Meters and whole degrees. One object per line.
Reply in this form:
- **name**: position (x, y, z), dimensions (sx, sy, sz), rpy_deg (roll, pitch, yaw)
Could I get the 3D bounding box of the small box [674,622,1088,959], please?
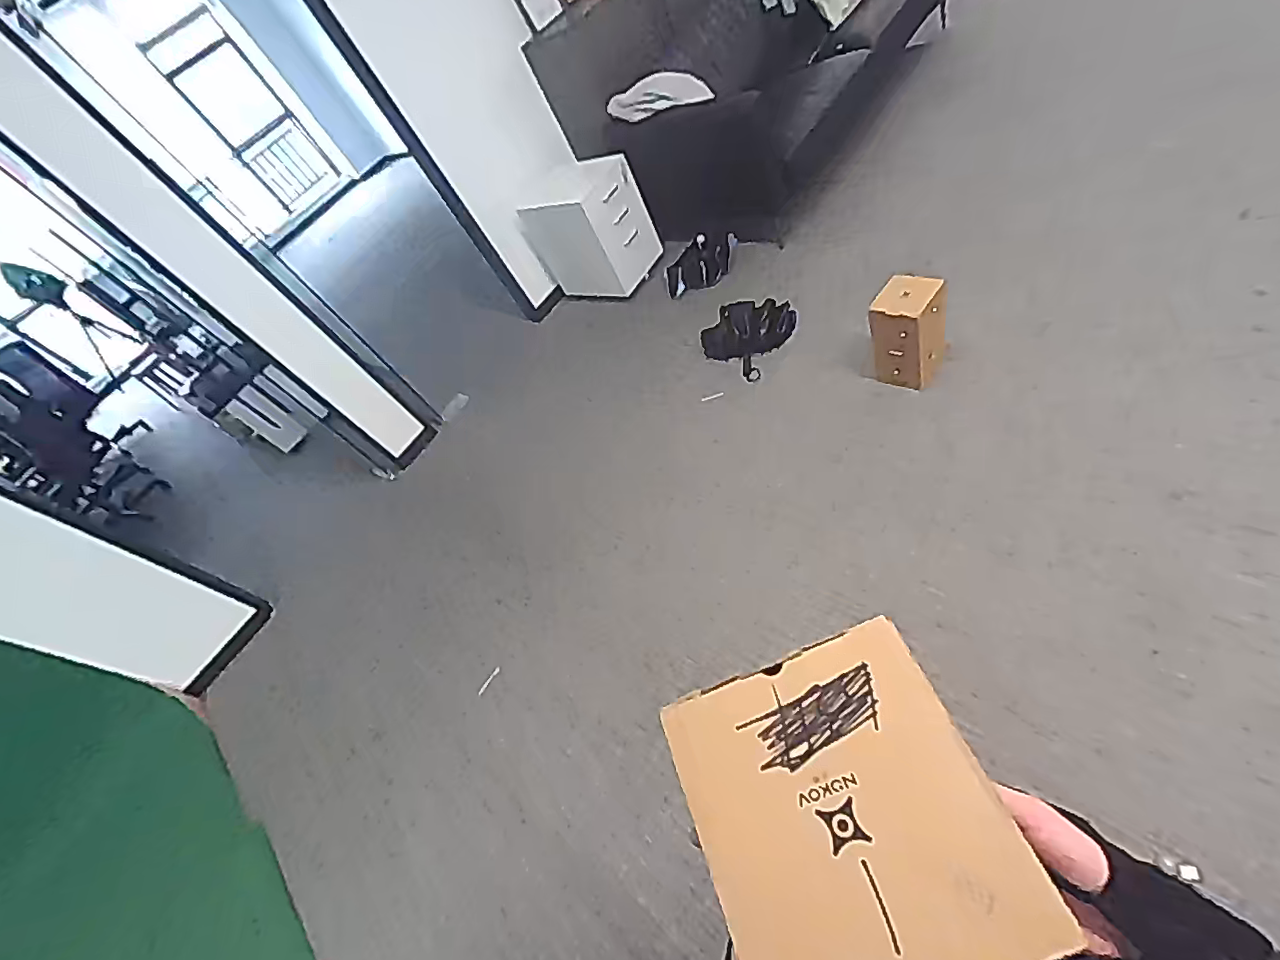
- **small box**: position (0.141, 0.230, 0.380), dimensions (0.168, 0.176, 0.179), rpy_deg (-24, 56, 4)
